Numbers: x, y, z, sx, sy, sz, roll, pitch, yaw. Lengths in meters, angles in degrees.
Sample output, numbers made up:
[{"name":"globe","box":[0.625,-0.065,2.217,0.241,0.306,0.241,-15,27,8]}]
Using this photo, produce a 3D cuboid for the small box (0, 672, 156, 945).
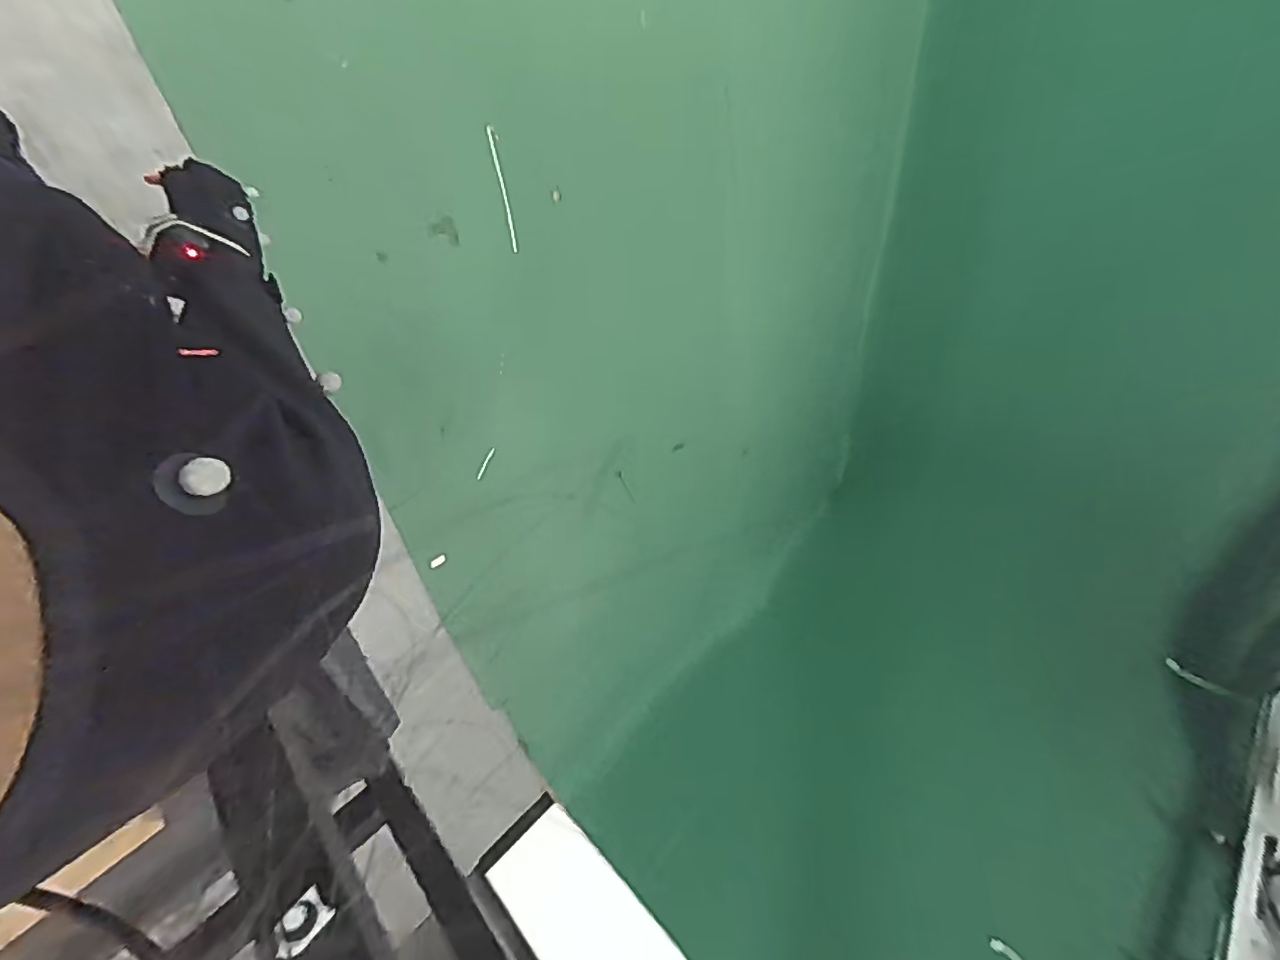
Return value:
[{"name":"small box","box":[-0.666,0.339,0.566,0.168,0.176,0.179,-37,137,-28]}]
